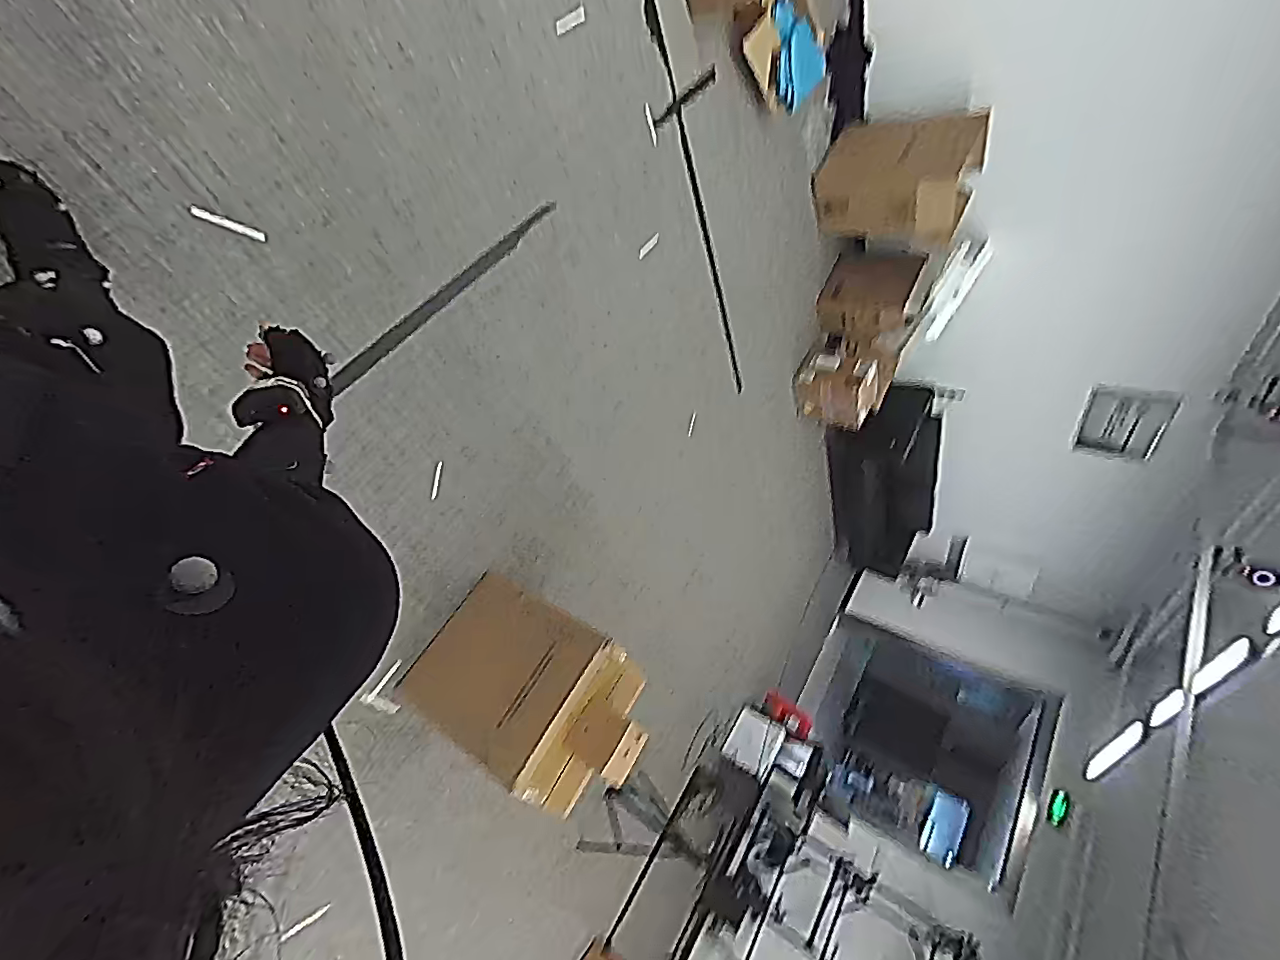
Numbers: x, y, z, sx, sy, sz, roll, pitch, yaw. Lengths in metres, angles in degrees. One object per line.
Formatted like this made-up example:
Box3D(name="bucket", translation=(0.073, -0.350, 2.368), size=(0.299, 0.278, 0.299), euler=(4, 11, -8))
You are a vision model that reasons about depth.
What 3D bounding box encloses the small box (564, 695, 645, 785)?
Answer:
Box3D(name="small box", translation=(-0.118, 0.825, 1.720), size=(0.179, 0.176, 0.168), euler=(-53, 141, -24))
